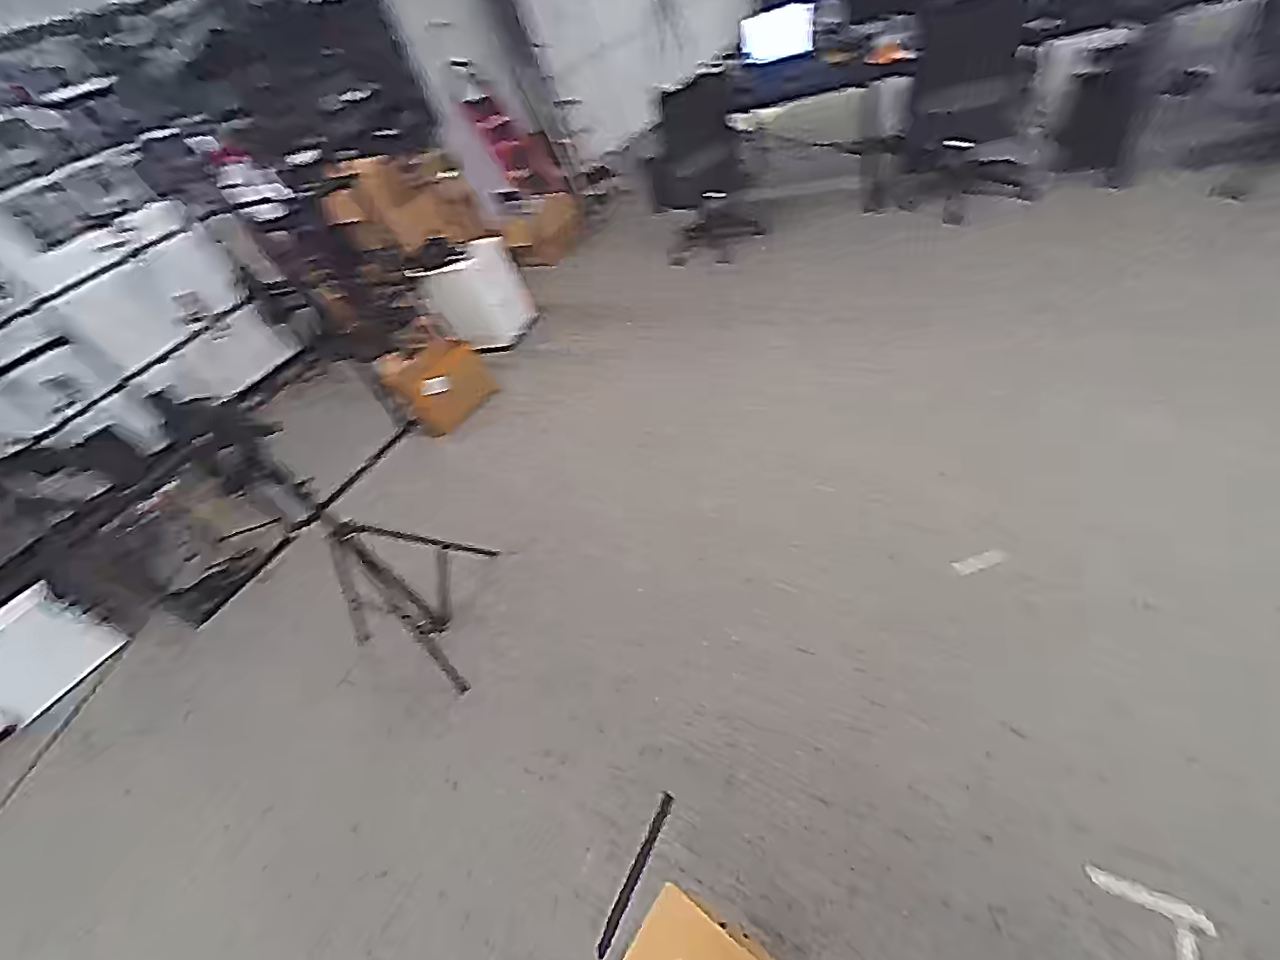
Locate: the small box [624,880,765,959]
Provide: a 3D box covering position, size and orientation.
[{"bbox_3d":[0.089,0.772,0.832,0.179,0.176,0.168,17,56,38],"label":"small box"}]

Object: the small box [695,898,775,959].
[{"bbox_3d":[0.145,0.880,0.939,0.179,0.176,0.168,18,56,38],"label":"small box"}]
